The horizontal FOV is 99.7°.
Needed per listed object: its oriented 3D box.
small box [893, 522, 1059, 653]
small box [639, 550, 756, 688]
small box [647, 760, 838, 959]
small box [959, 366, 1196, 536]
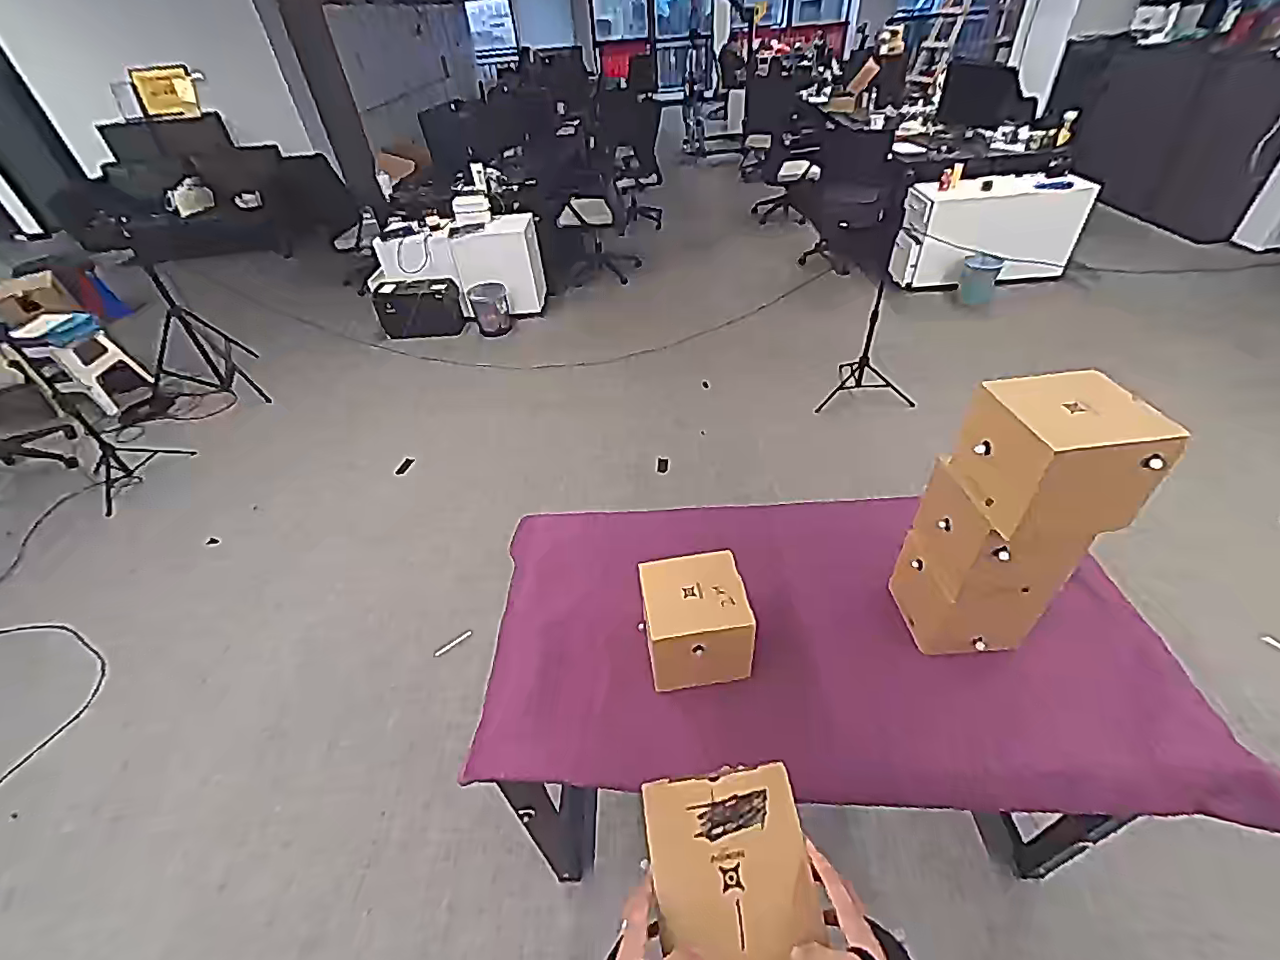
[{"bbox_3d":[0.592,0.197,0.982,0.179,0.176,0.168,-4,41,1],"label":"small box"},{"bbox_3d":[0.099,0.252,0.971,0.179,0.176,0.168,-7,41,-3],"label":"small box"},{"bbox_3d":[0.099,0.438,0.619,0.168,0.176,0.179,-8,57,-2],"label":"small box"},{"bbox_3d":[0.579,-0.038,0.753,0.179,0.176,0.168,-7,41,-2],"label":"small box"}]
